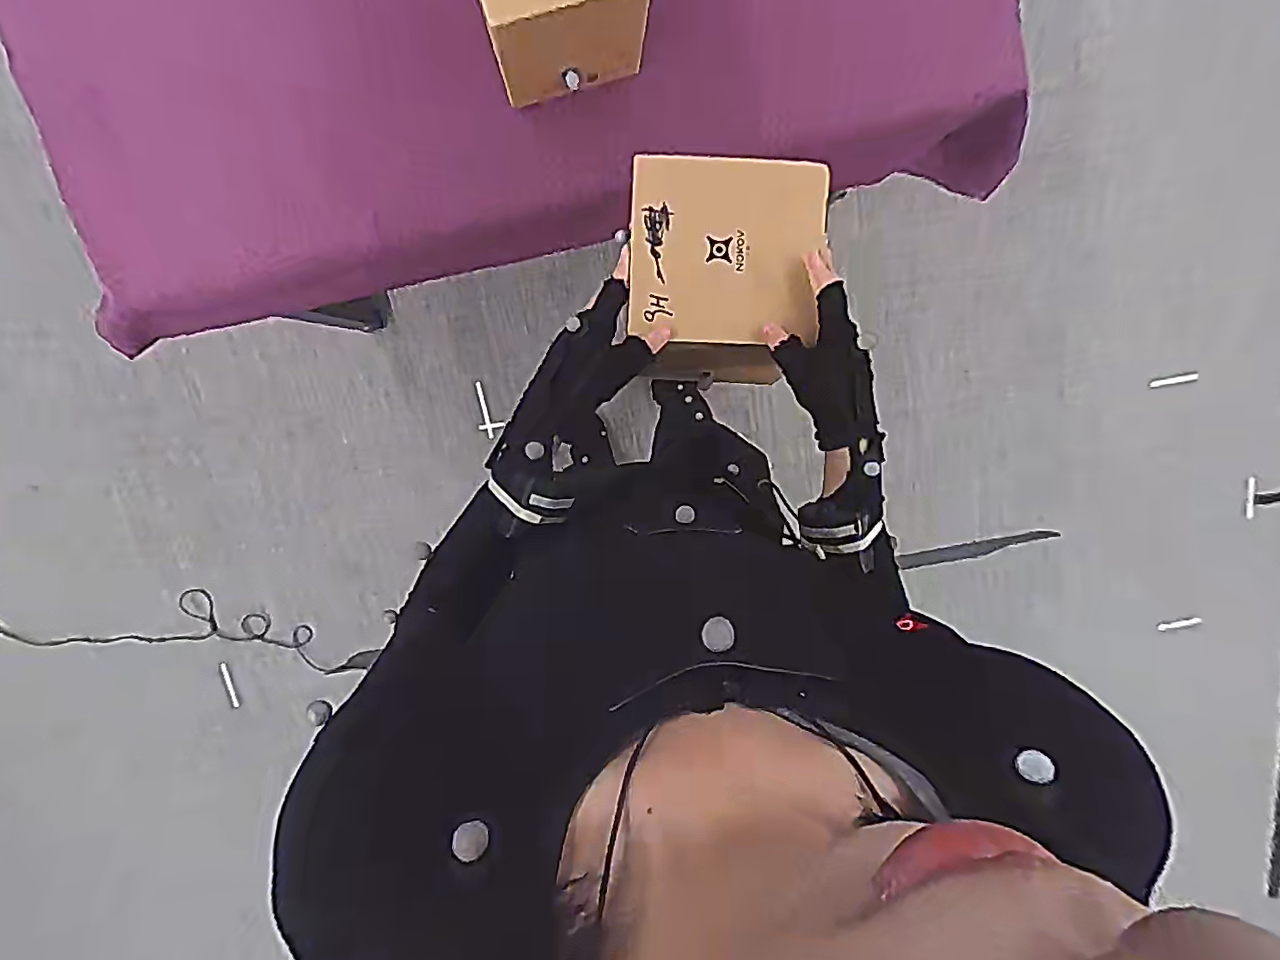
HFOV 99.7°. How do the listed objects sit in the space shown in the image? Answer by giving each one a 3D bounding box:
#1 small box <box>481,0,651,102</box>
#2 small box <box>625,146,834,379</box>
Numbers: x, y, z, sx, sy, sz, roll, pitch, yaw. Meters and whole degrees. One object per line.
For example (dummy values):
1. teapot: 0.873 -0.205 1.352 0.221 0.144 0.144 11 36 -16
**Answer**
1. small box: -0.094 -0.551 0.573 0.168 0.176 0.179 -17 102 -1
2. small box: 0.077 -0.202 0.550 0.179 0.176 0.168 3 89 -2
